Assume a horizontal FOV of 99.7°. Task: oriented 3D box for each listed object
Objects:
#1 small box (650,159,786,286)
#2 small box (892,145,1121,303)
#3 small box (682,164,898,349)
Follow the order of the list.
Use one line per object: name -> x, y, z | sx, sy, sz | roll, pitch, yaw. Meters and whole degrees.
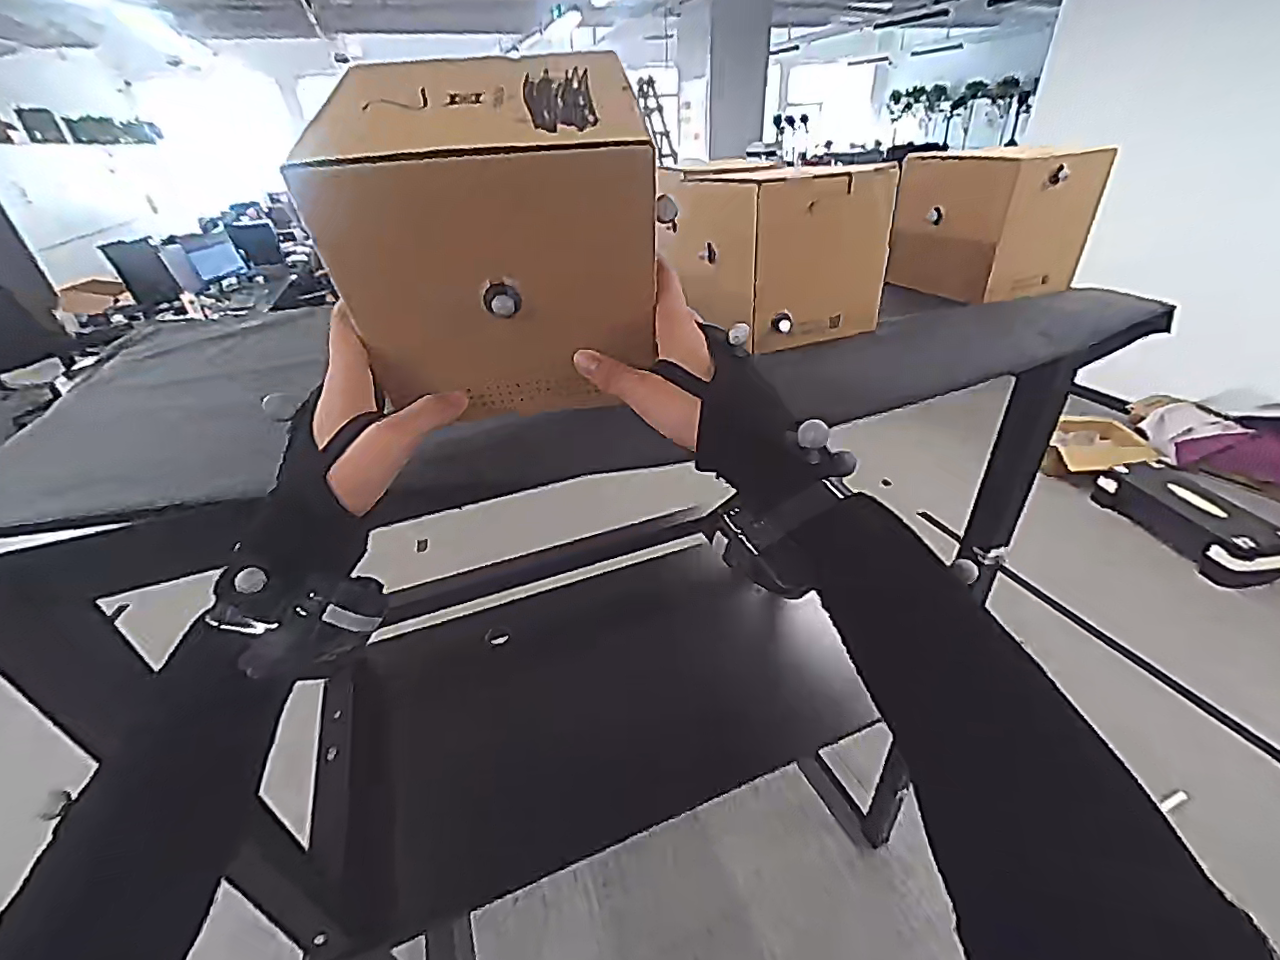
small box -> 0.121, -0.423, 0.890 | 0.168, 0.176, 0.179 | -11, 33, -13
small box -> 0.472, -0.346, 0.730 | 0.168, 0.176, 0.179 | -16, 34, -16
small box -> 0.160, -0.259, 0.625 | 0.168, 0.176, 0.179 | -15, 32, -16
